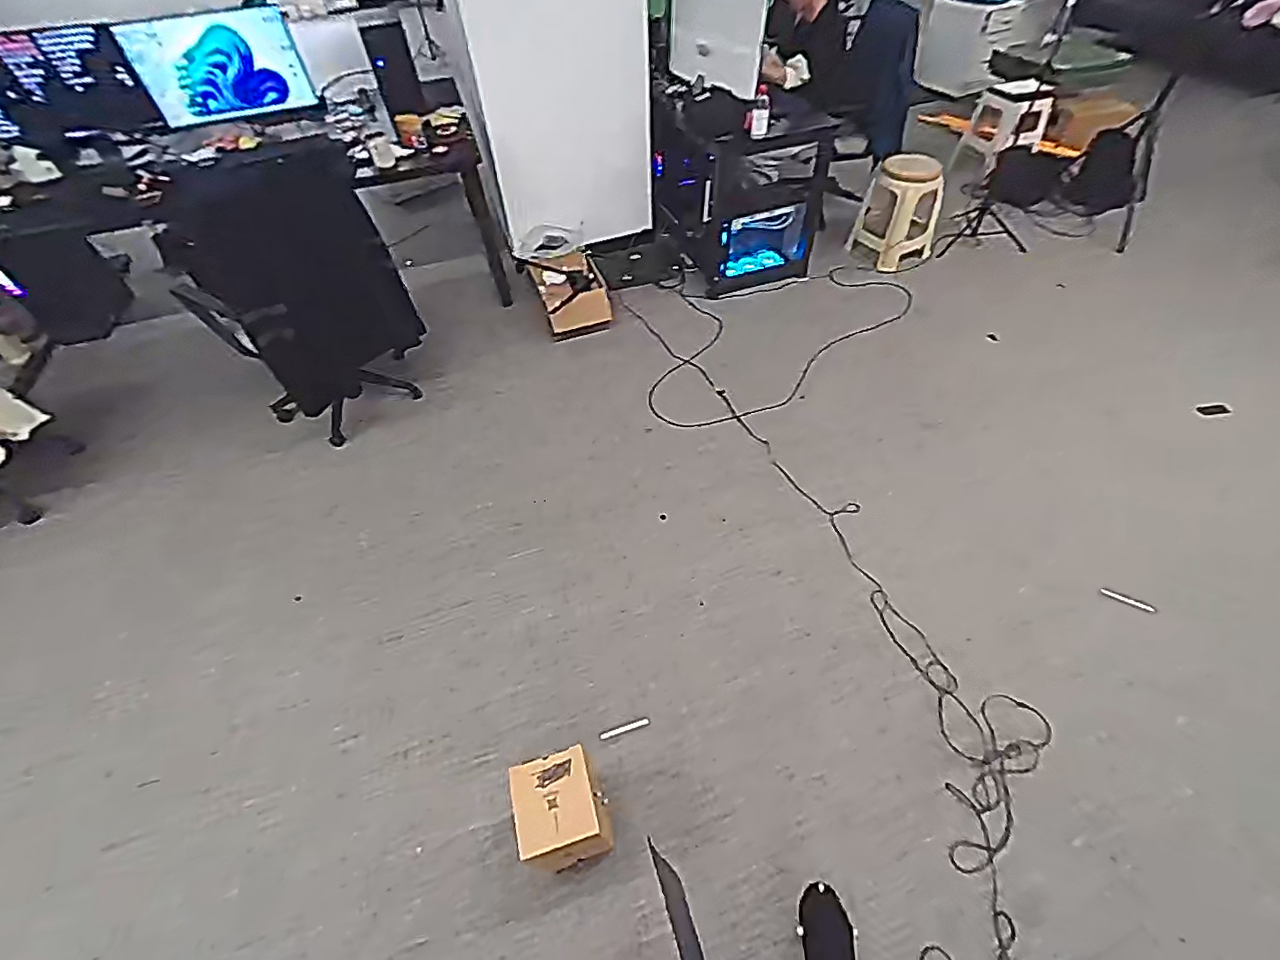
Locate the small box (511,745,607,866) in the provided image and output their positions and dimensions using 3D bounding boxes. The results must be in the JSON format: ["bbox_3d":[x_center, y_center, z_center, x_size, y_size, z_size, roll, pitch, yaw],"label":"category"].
[{"bbox_3d":[-0.176,0.719,1.191,0.168,0.176,0.179,-15,52,-8],"label":"small box"}]
